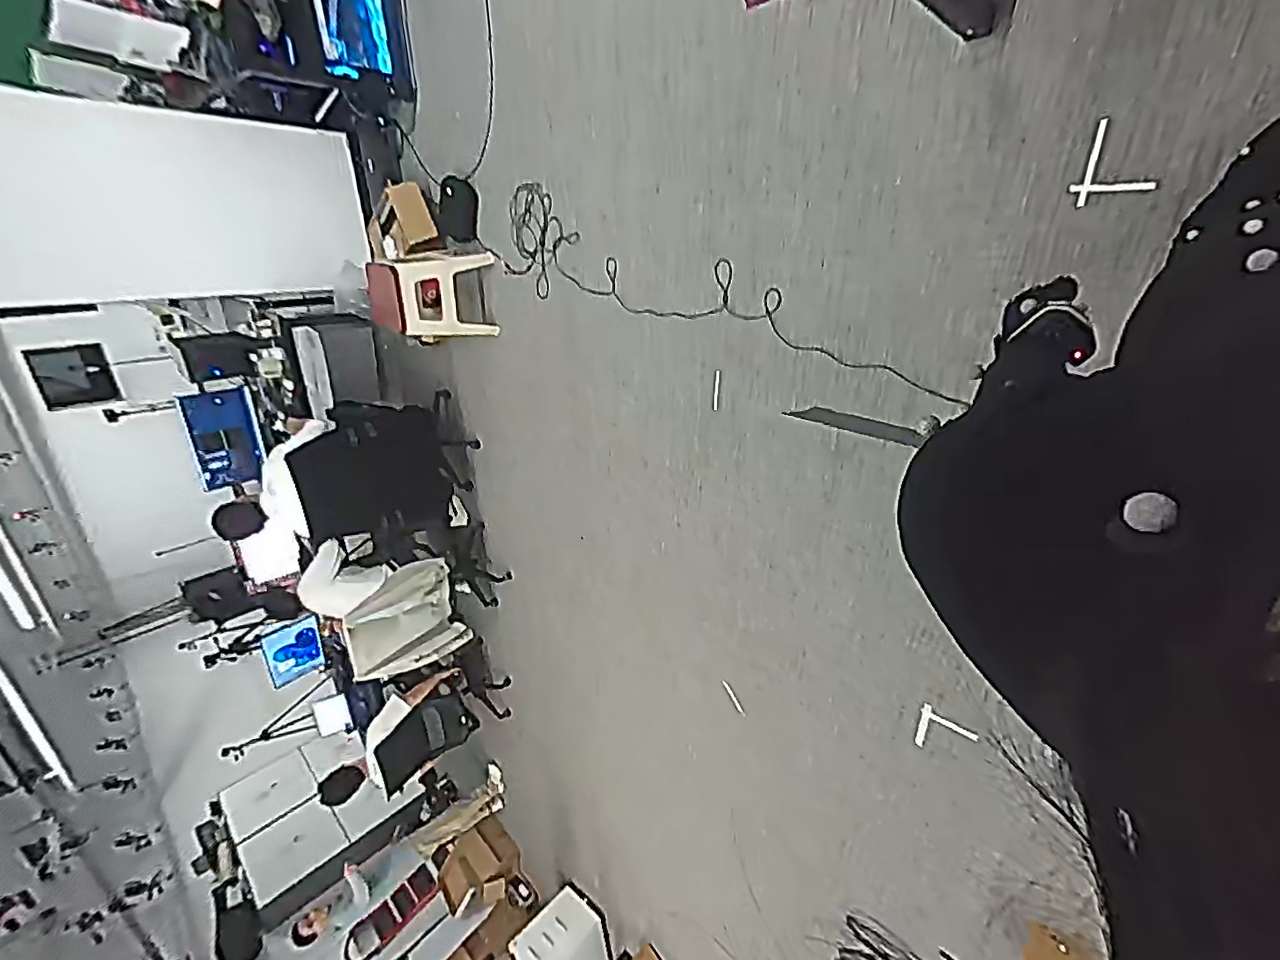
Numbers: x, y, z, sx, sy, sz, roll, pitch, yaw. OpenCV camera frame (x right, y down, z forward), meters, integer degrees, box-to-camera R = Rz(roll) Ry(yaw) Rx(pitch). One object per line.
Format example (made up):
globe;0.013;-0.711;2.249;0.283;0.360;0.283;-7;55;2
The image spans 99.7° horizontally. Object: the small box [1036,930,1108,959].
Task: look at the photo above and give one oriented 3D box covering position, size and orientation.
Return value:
small box;1.244;1.461;1.542;0.168;0.176;0.179;-2;105;47
